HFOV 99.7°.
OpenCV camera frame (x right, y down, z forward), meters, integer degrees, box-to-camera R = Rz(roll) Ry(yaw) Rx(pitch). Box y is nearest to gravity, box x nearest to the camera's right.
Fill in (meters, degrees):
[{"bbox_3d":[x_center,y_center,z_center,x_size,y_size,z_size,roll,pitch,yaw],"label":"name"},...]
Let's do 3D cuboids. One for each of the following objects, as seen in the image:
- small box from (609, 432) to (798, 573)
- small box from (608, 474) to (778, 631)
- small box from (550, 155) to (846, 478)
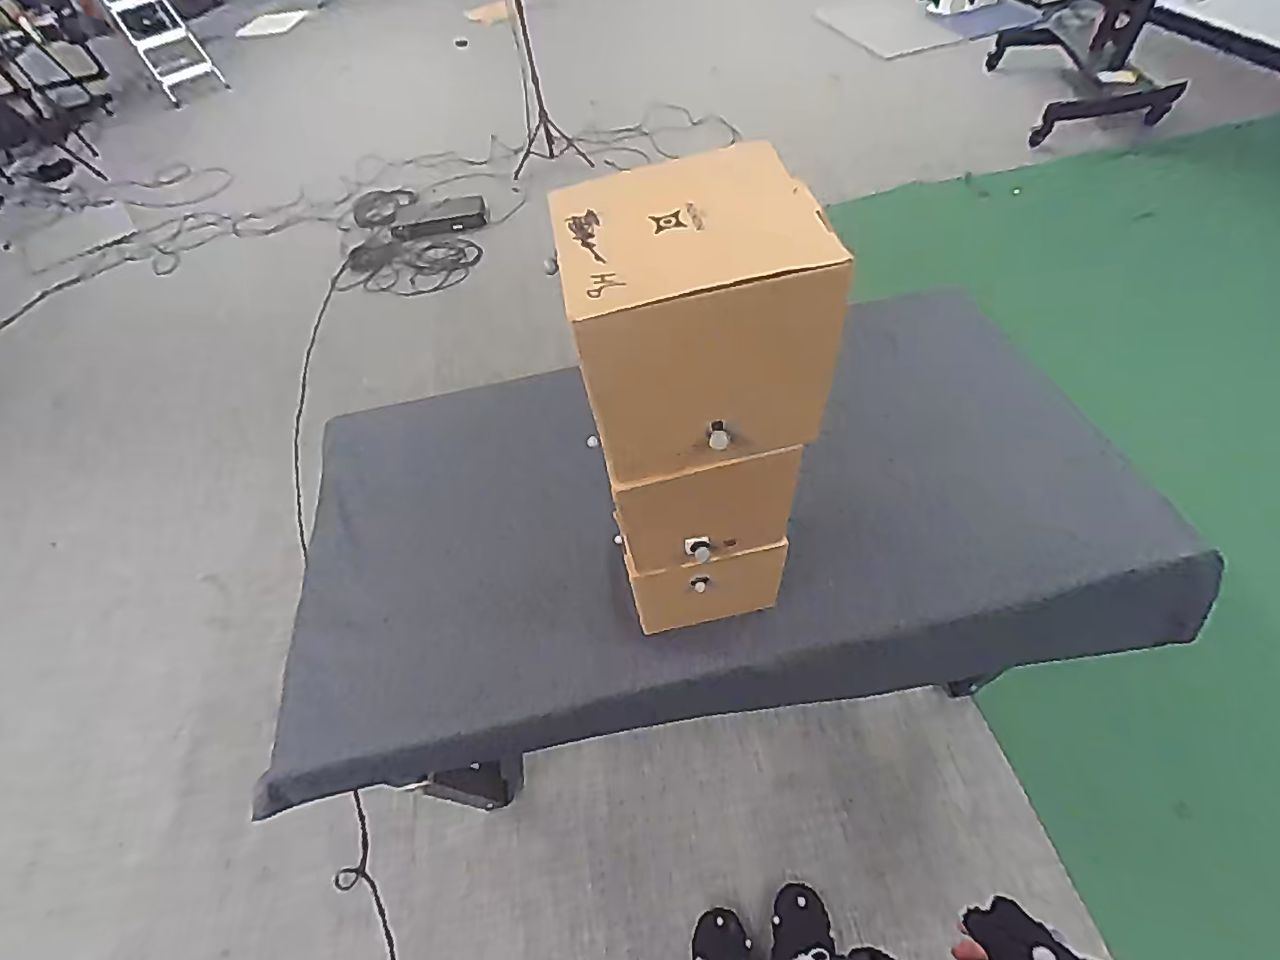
[{"bbox_3d":[0.047,-0.029,0.568,0.168,0.176,0.179,-14,55,-2],"label":"small box"},{"bbox_3d":[0.065,0.081,0.707,0.179,0.176,0.168,-12,54,-2],"label":"small box"},{"bbox_3d":[0.036,-0.124,0.436,0.179,0.176,0.168,-12,53,-1],"label":"small box"}]
